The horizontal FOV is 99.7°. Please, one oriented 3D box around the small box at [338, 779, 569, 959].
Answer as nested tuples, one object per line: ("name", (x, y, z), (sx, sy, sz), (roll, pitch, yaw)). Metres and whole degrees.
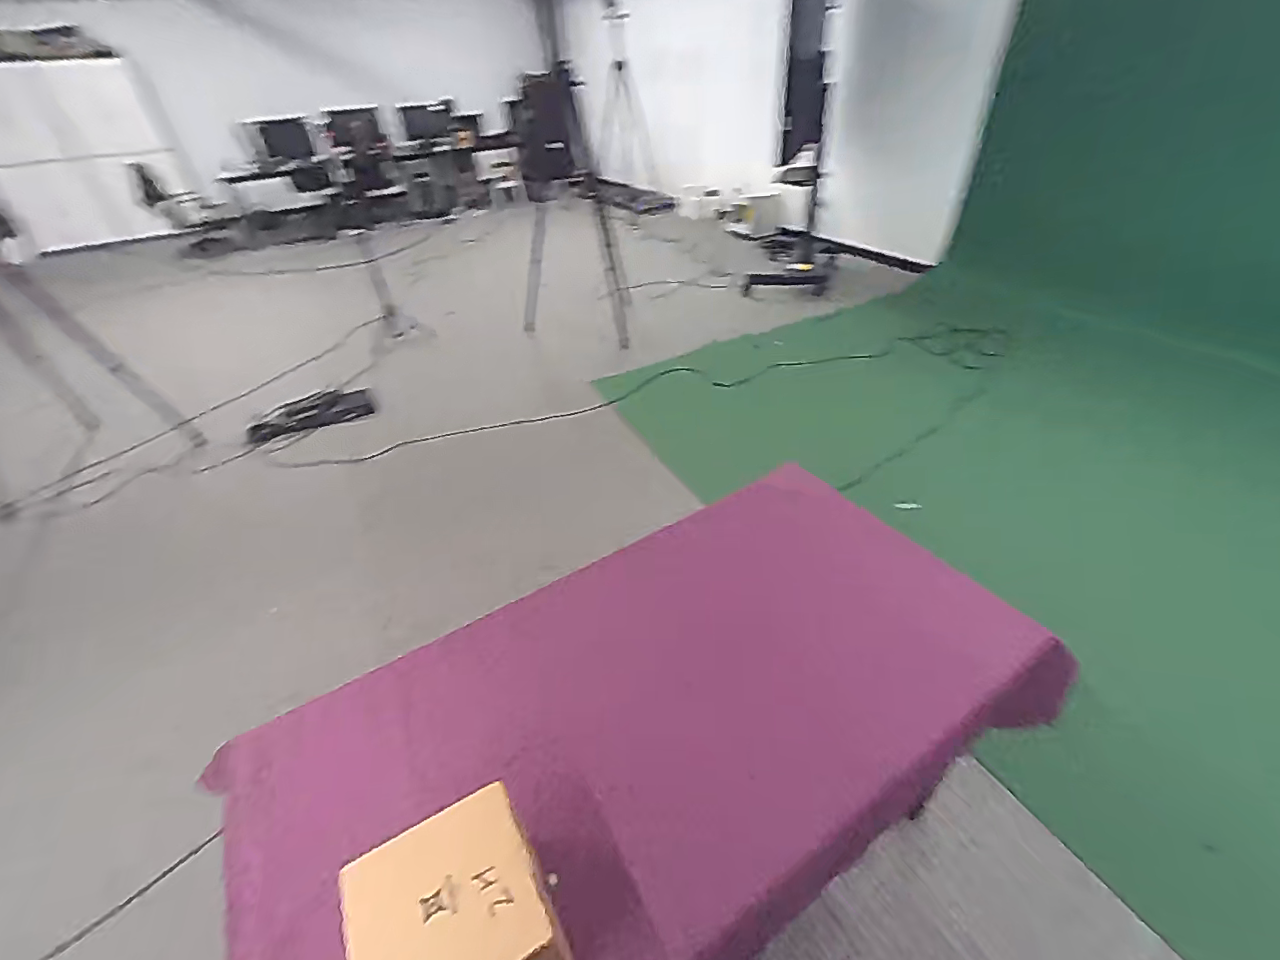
("small box", (-0.193, 0.474, 0.579), (0.179, 0.176, 0.168), (-21, 41, -21))
